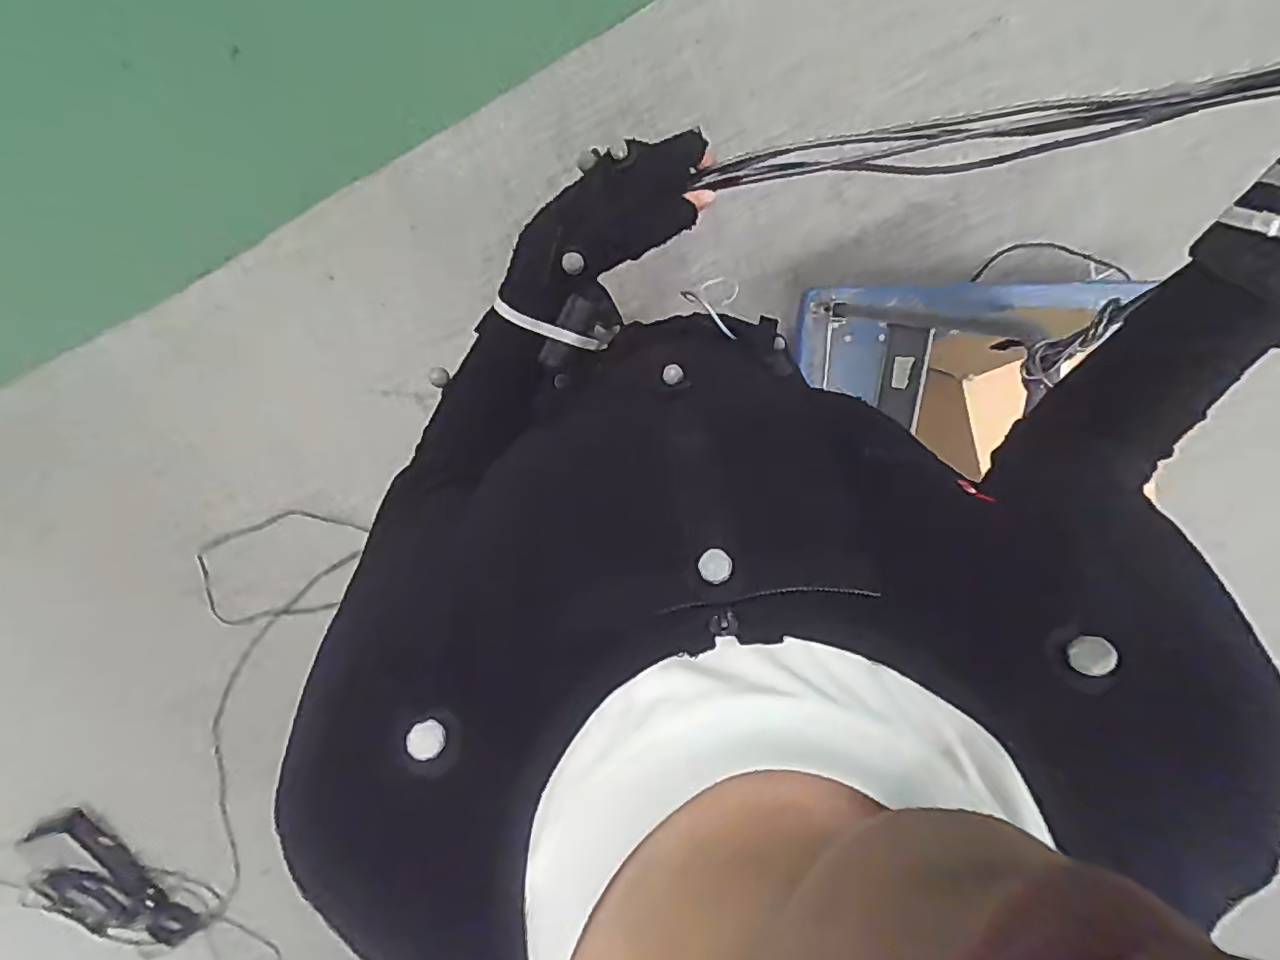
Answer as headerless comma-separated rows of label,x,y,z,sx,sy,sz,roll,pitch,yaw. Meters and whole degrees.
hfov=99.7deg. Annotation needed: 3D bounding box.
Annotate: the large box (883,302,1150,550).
large box,0.782,-0.130,1.161,0.320,0.320,0.408,-23,108,5
